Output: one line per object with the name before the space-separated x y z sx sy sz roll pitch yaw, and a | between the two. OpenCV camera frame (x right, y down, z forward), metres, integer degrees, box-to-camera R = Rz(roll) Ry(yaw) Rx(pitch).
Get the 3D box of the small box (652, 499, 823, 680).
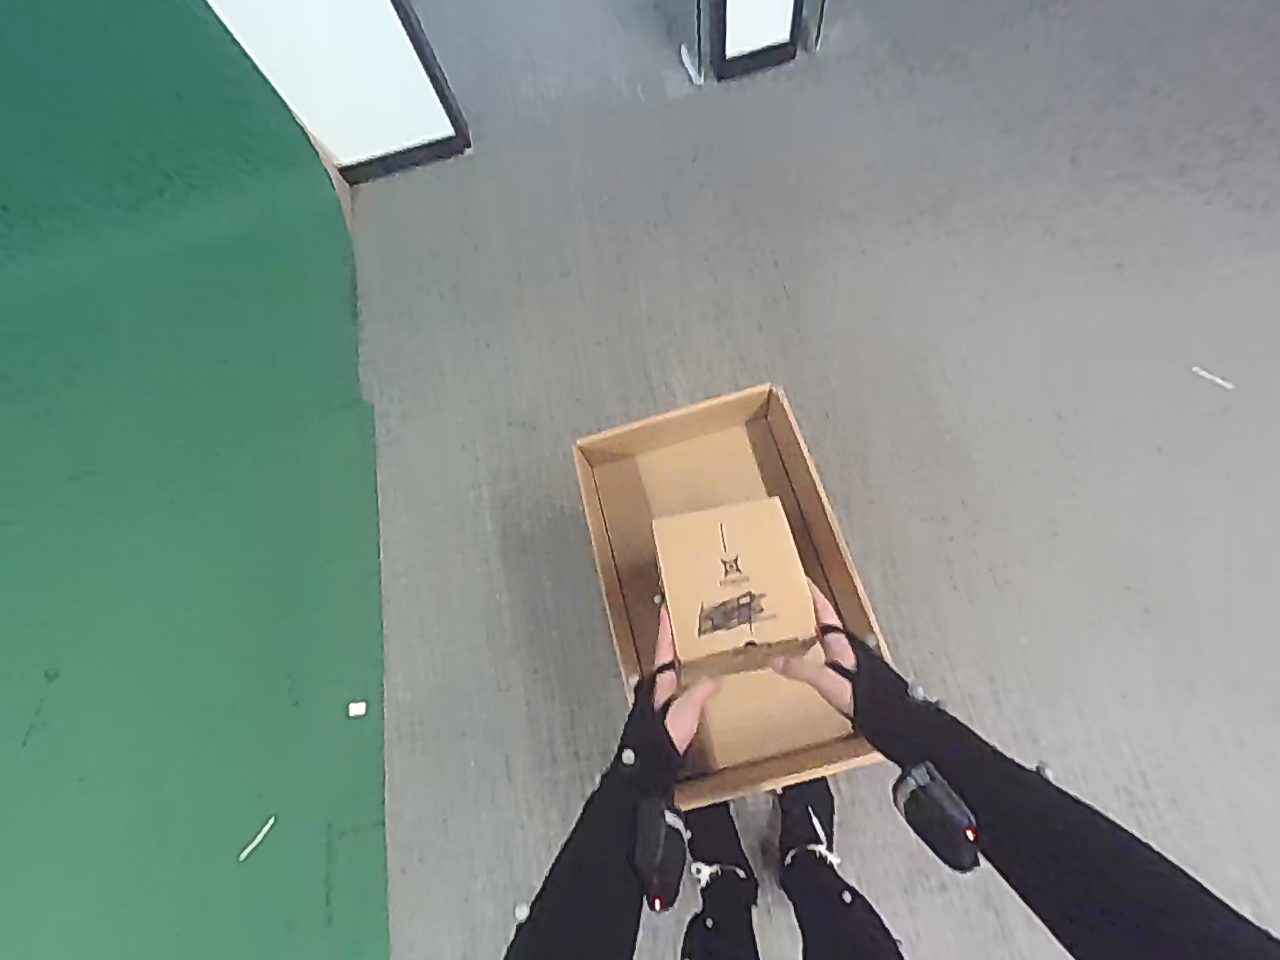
small box | 0.114 0.149 0.693 0.168 0.176 0.179 -10 60 -1
